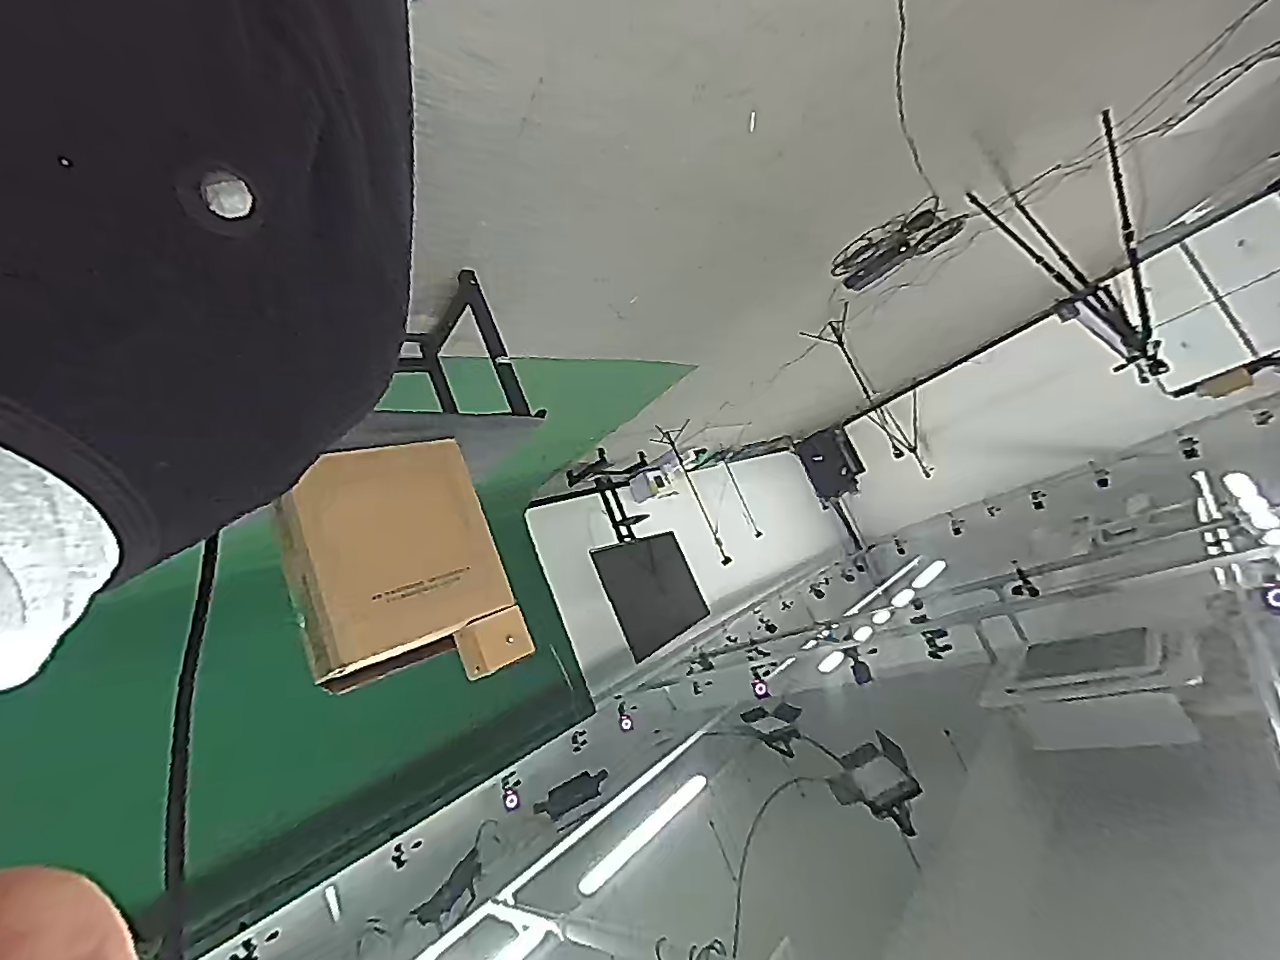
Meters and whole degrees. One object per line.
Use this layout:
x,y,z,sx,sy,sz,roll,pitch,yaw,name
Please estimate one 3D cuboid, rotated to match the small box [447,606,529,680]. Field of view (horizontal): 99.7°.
-0.508,0.538,1.797,0.179,0.176,0.168,-17,167,-45,small box
